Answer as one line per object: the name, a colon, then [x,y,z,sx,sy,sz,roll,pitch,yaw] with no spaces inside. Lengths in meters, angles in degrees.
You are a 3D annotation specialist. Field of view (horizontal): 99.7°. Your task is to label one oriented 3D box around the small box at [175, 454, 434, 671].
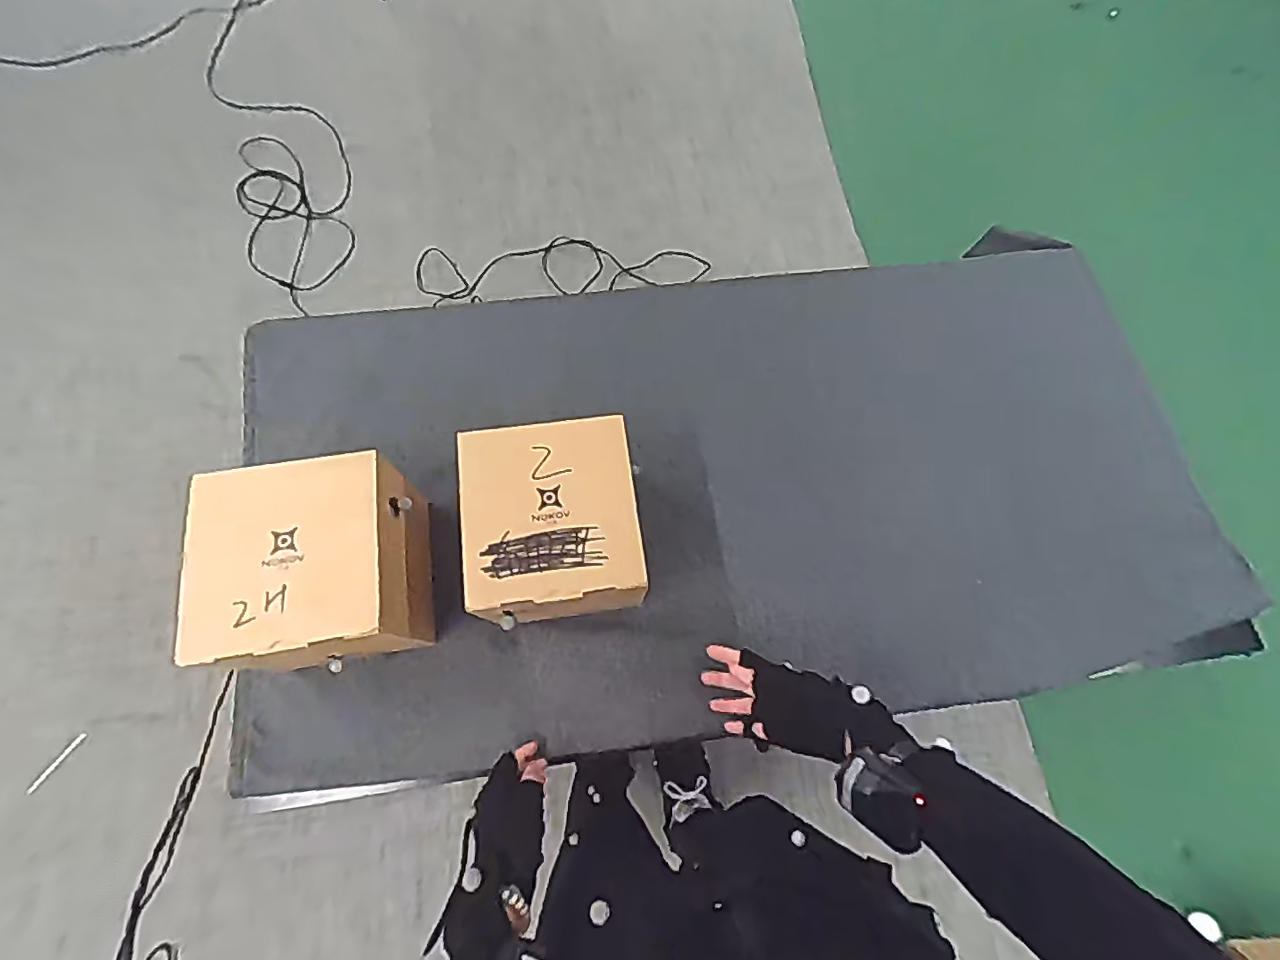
small box: [-0.320,0.092,0.556,0.168,0.176,0.179,-8,71,-7]
